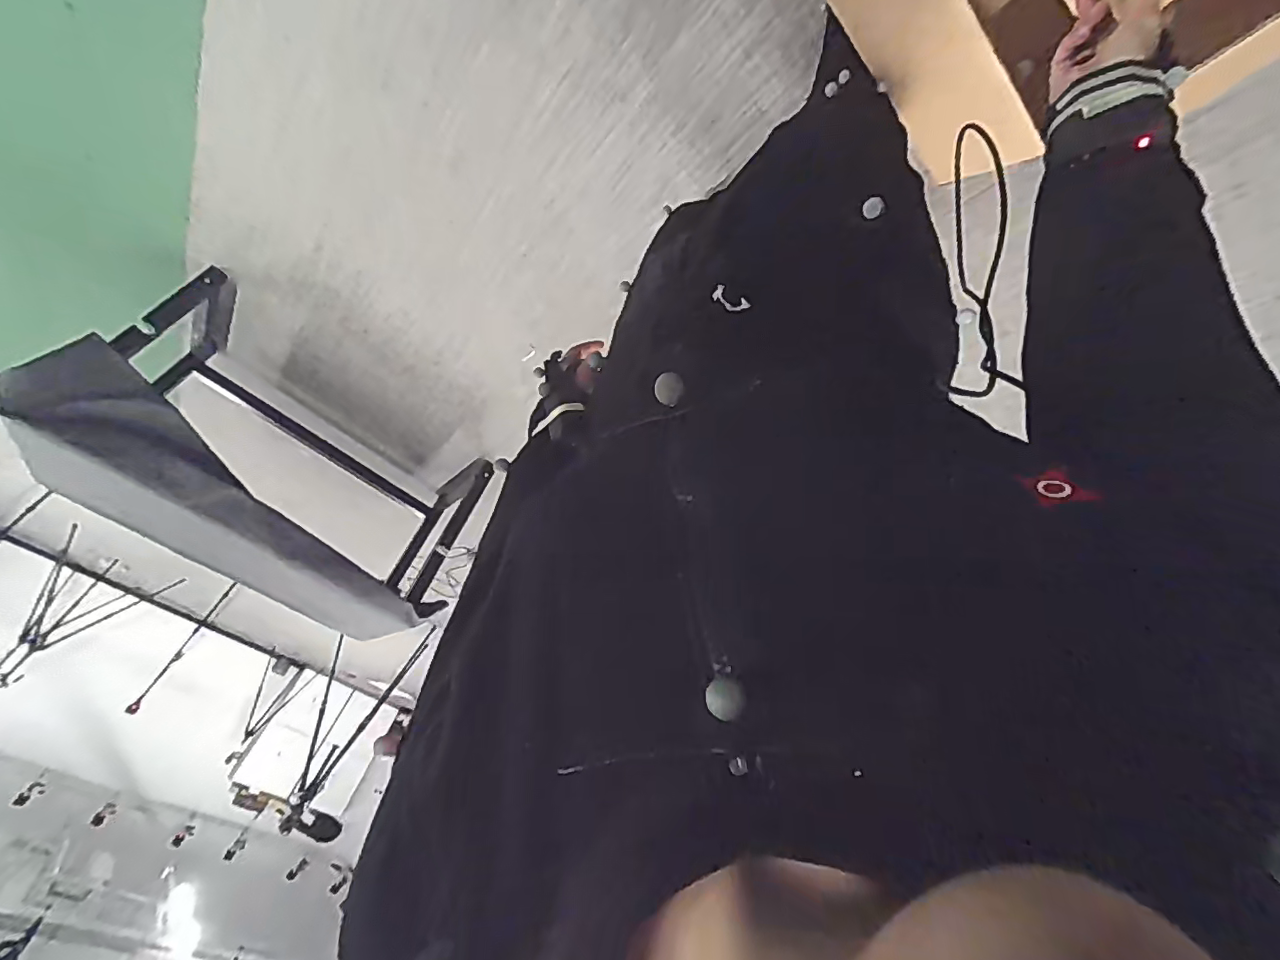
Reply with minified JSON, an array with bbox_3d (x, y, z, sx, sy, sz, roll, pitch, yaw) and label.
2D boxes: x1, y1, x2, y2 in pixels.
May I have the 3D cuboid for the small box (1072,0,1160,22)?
[{"bbox_3d":[0.387,-0.485,0.389,0.168,0.176,0.179,38,134,-14],"label":"small box"}]
